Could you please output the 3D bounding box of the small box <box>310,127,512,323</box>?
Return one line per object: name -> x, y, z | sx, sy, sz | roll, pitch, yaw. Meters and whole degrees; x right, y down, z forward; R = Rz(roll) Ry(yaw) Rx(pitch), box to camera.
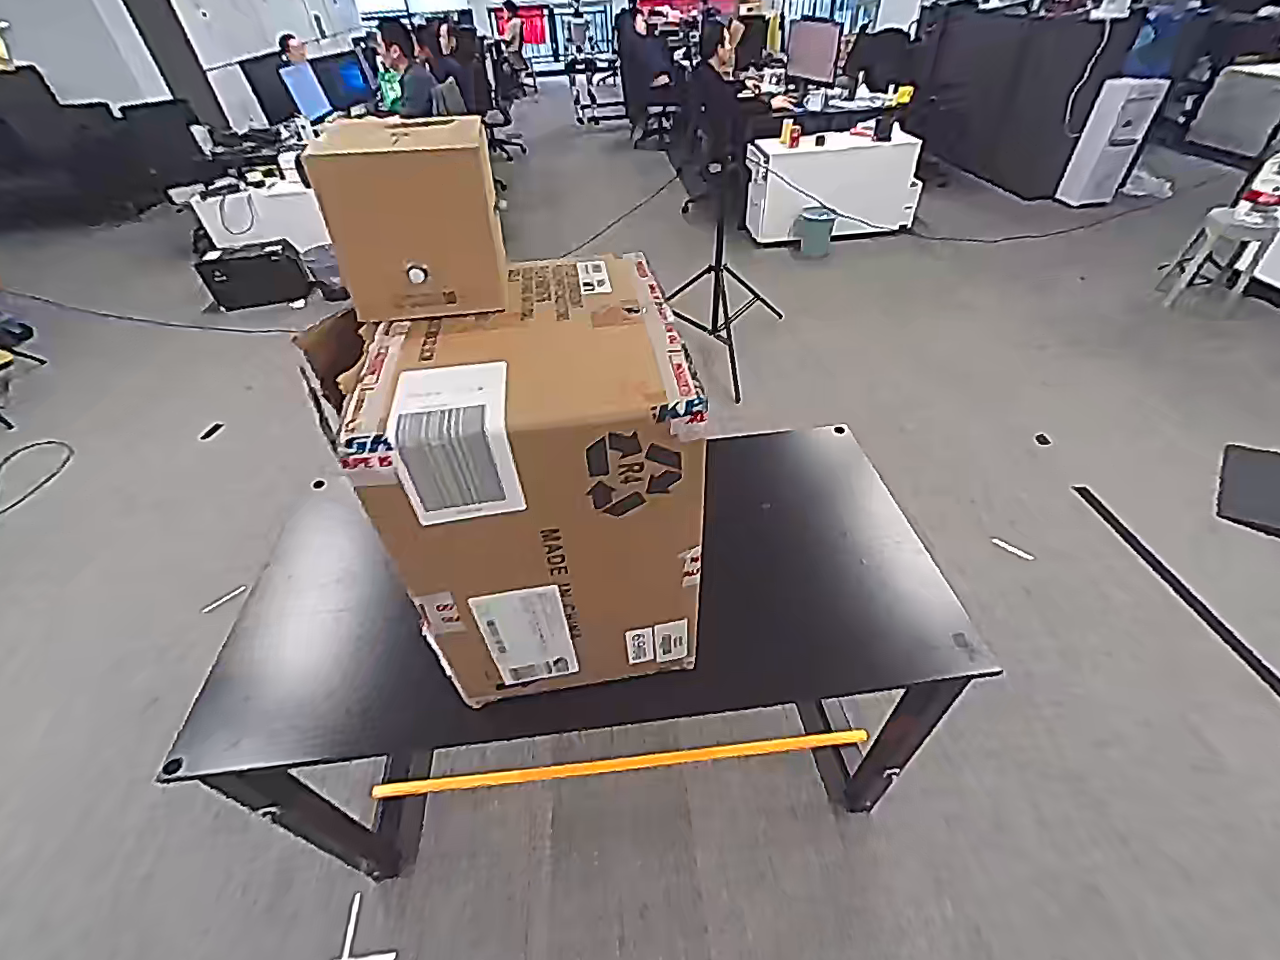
small box -> -0.246, -0.299, 0.630 | 0.168, 0.176, 0.179 | -8, 41, -8
